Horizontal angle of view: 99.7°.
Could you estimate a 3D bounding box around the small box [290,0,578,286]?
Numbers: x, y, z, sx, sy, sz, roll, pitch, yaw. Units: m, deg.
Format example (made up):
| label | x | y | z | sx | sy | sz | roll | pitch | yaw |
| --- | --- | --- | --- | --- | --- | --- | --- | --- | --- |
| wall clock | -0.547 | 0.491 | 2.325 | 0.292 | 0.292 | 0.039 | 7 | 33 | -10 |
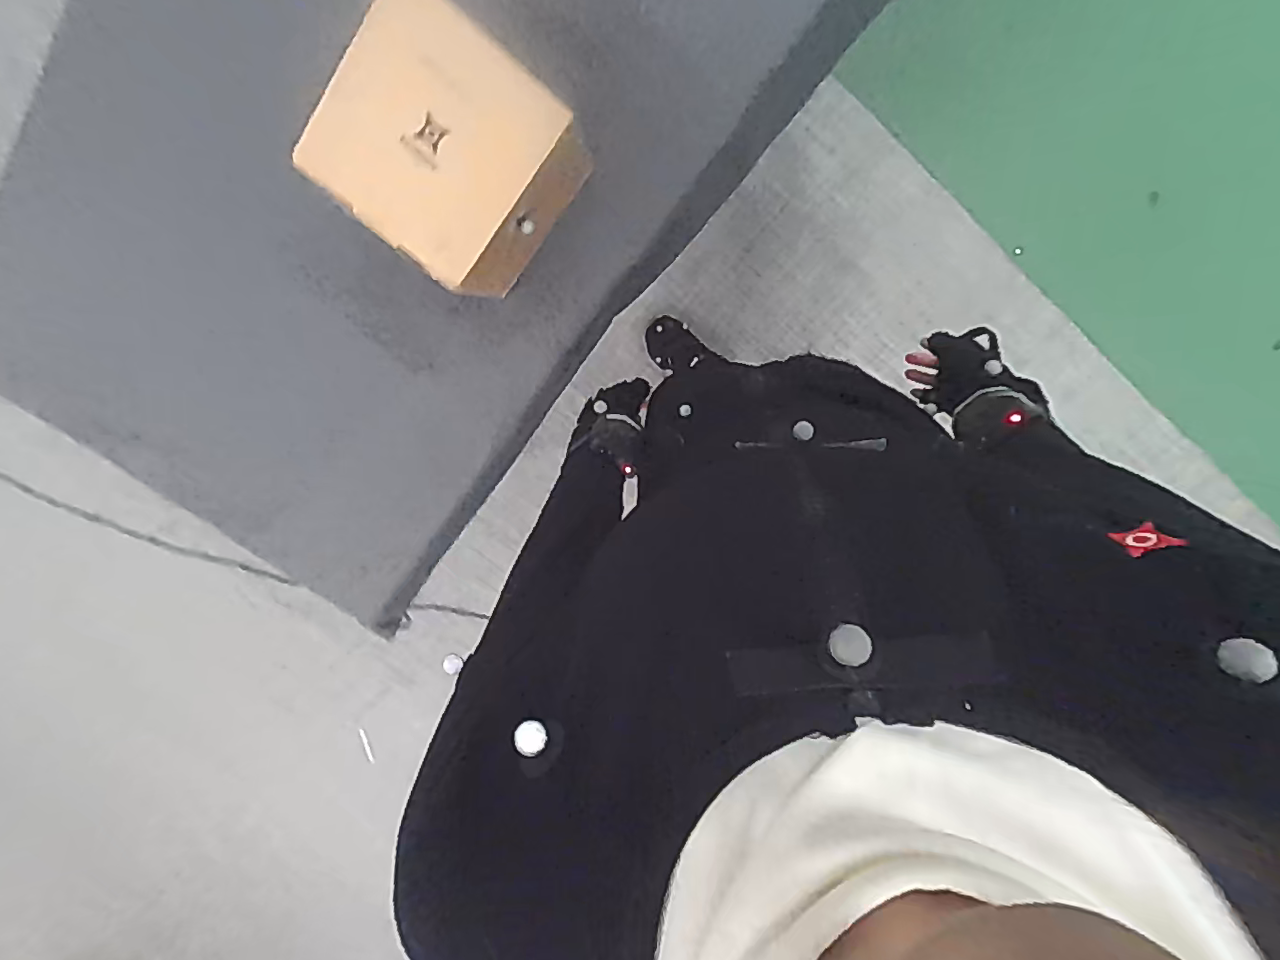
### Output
| label | x | y | z | sx | sy | sz | roll | pitch | yaw |
| --- | --- | --- | --- | --- | --- | --- | --- | --- | --- |
| small box | -0.174 | -0.305 | 0.515 | 0.168 | 0.176 | 0.179 | 38 | 104 | -12 |
